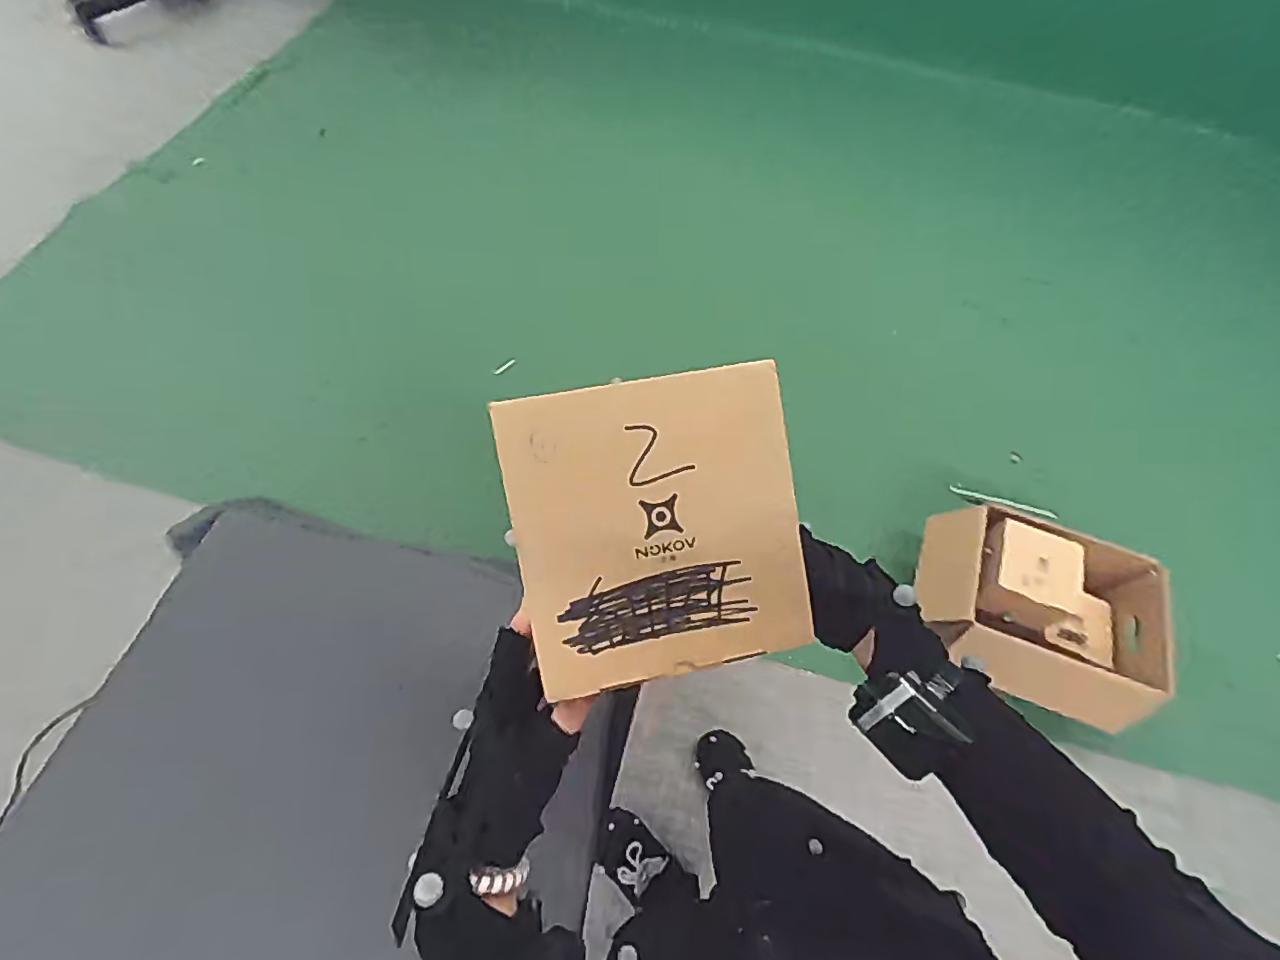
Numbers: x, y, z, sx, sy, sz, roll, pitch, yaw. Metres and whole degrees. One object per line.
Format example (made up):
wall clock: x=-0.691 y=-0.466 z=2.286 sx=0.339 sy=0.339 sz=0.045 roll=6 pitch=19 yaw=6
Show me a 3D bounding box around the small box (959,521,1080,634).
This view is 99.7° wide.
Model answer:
small box: x=0.866 y=0.228 z=1.244 sx=0.168 sy=0.176 sz=0.179 roll=22 pitch=63 yaw=11
